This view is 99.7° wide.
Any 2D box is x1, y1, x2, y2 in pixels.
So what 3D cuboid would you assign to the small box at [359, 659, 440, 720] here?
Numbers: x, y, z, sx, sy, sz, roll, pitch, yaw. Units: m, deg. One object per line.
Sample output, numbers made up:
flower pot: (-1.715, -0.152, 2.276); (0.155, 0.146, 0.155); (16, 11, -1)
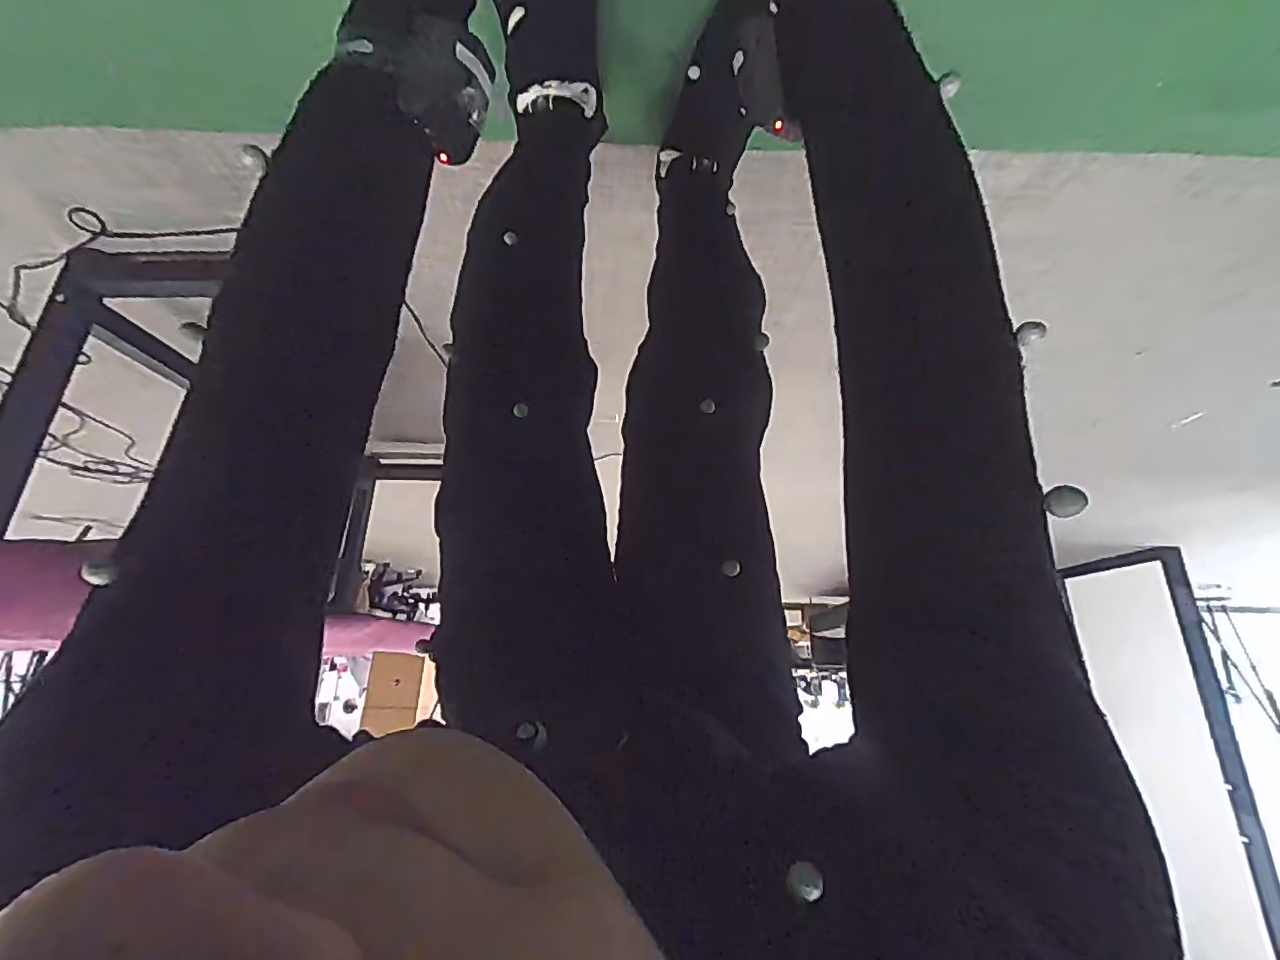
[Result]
small box: (-0.756, 0.663, 1.717); (0.179, 0.176, 0.168); (-1, 161, 2)
